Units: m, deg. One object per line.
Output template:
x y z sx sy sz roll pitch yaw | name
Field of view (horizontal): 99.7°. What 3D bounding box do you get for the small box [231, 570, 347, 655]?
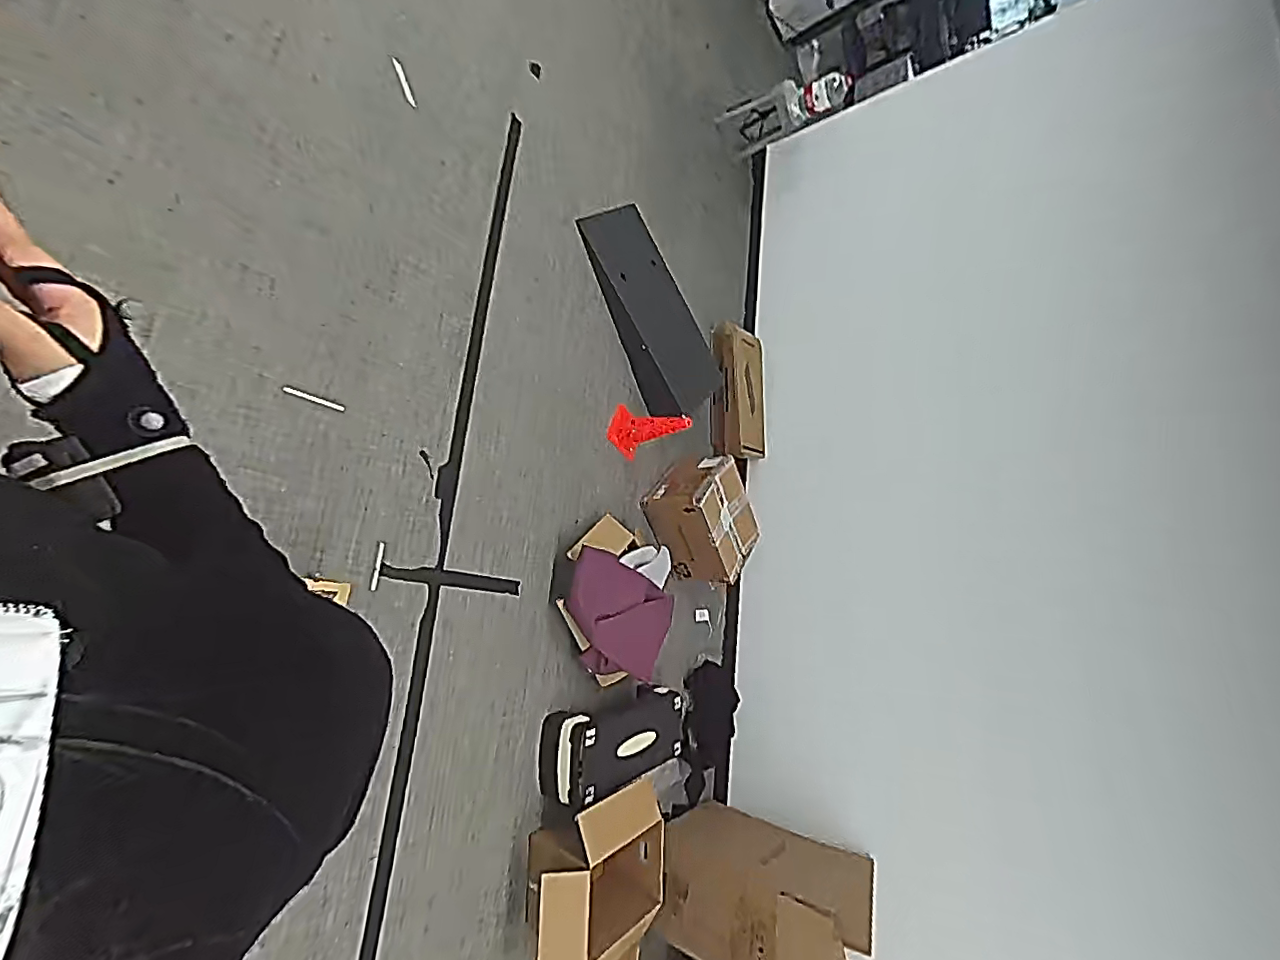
-0.850 0.317 1.308 0.168 0.176 0.179 26 68 -49 | small box
